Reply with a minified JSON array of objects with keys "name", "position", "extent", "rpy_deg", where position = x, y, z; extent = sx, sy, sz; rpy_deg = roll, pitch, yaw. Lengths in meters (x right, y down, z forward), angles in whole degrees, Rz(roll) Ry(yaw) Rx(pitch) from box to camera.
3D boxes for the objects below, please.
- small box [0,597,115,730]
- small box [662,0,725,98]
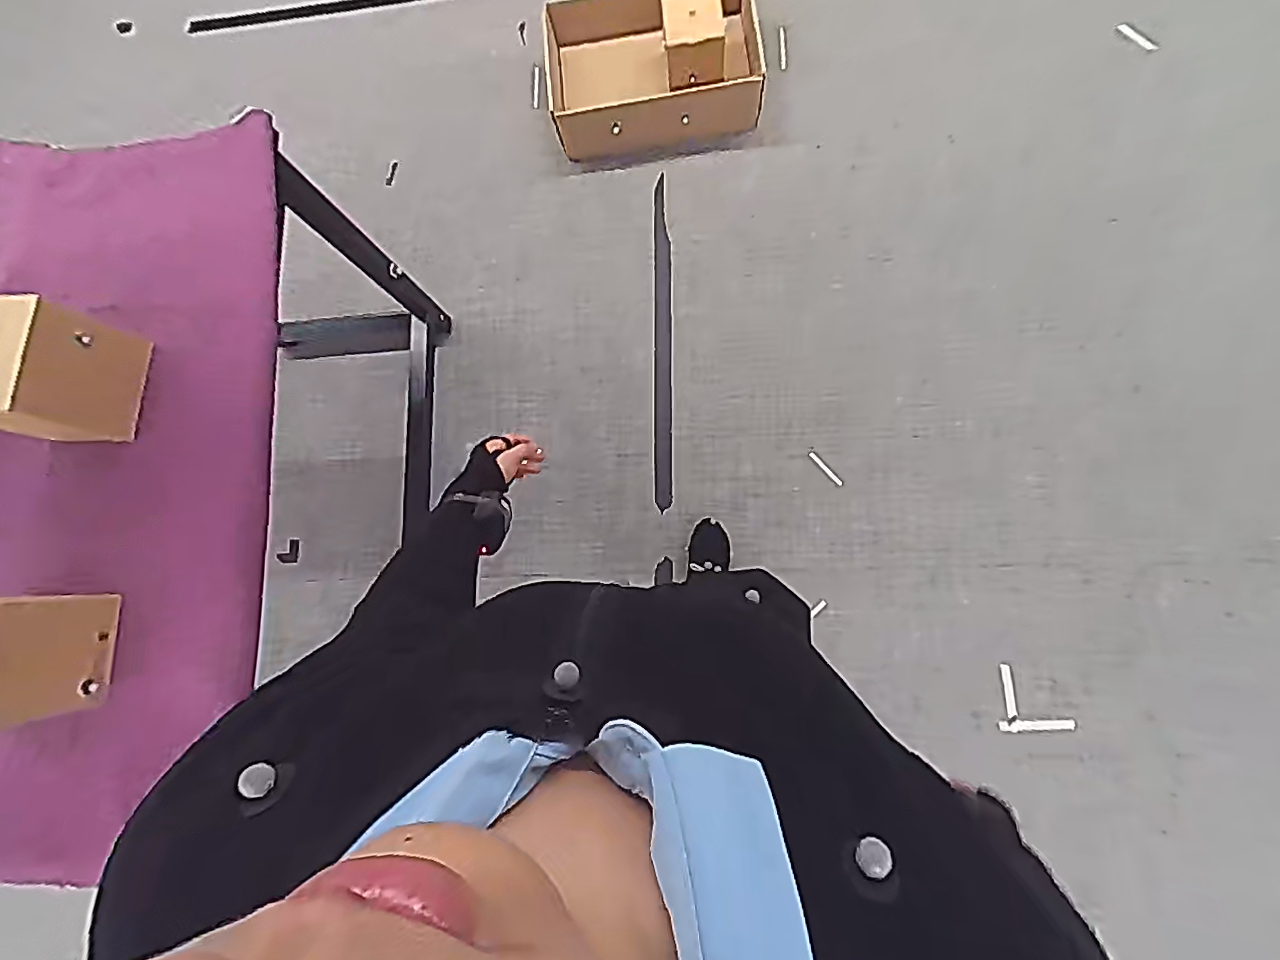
[{"name":"small box","position":[-0.908,0.254,0.764],"extent":[0.179,0.176,0.168],"rpy_deg":[-2,80,6]},{"name":"small box","position":[0.156,-1.284,1.600],"extent":[0.168,0.176,0.179],"rpy_deg":[-6,80,6]}]
